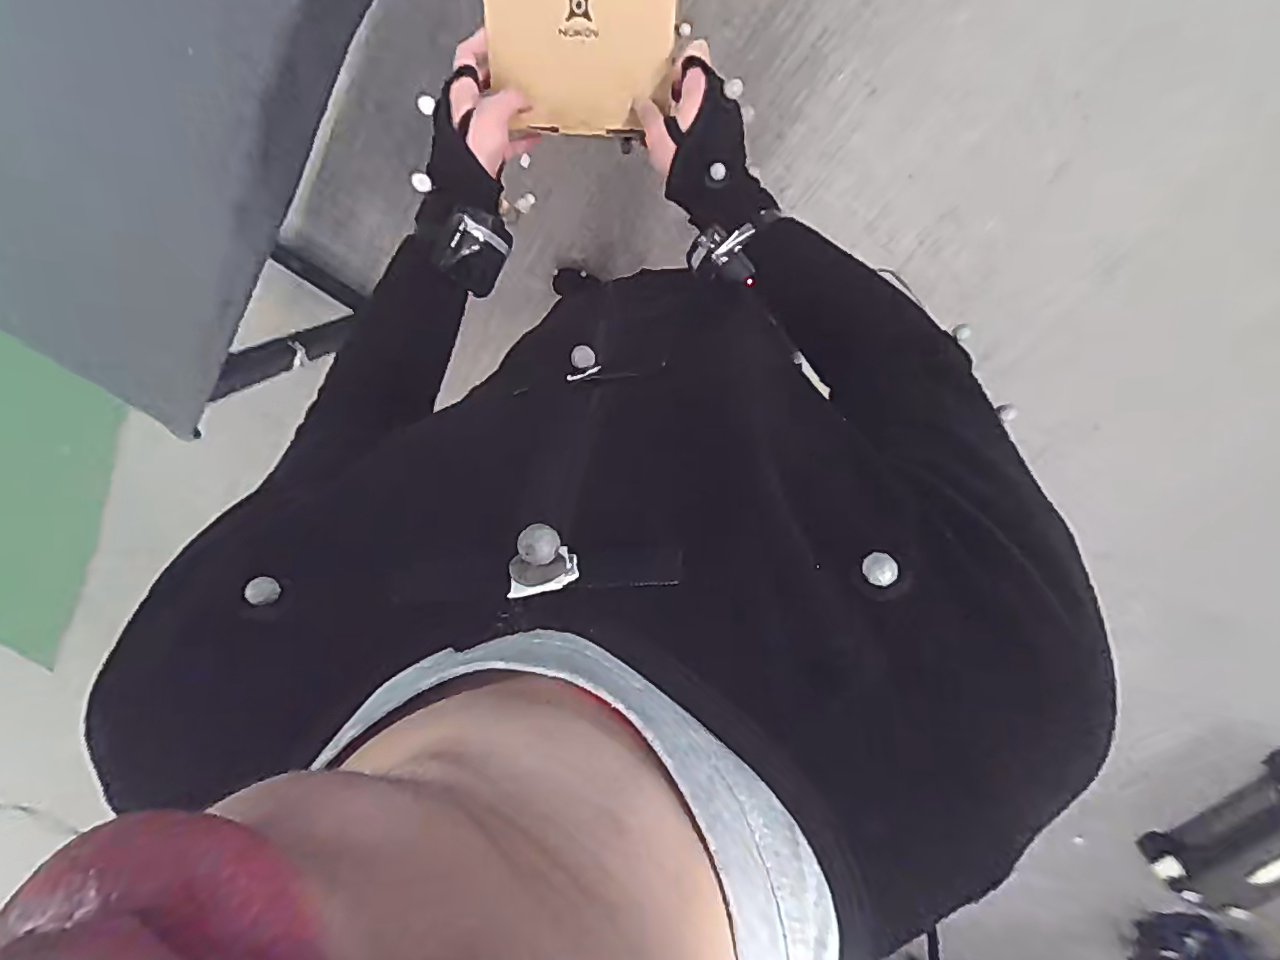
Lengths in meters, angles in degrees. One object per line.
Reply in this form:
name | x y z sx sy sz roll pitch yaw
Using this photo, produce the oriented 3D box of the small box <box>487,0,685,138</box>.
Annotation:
small box | -0.042 -0.440 0.524 0.168 0.176 0.179 3 119 2
